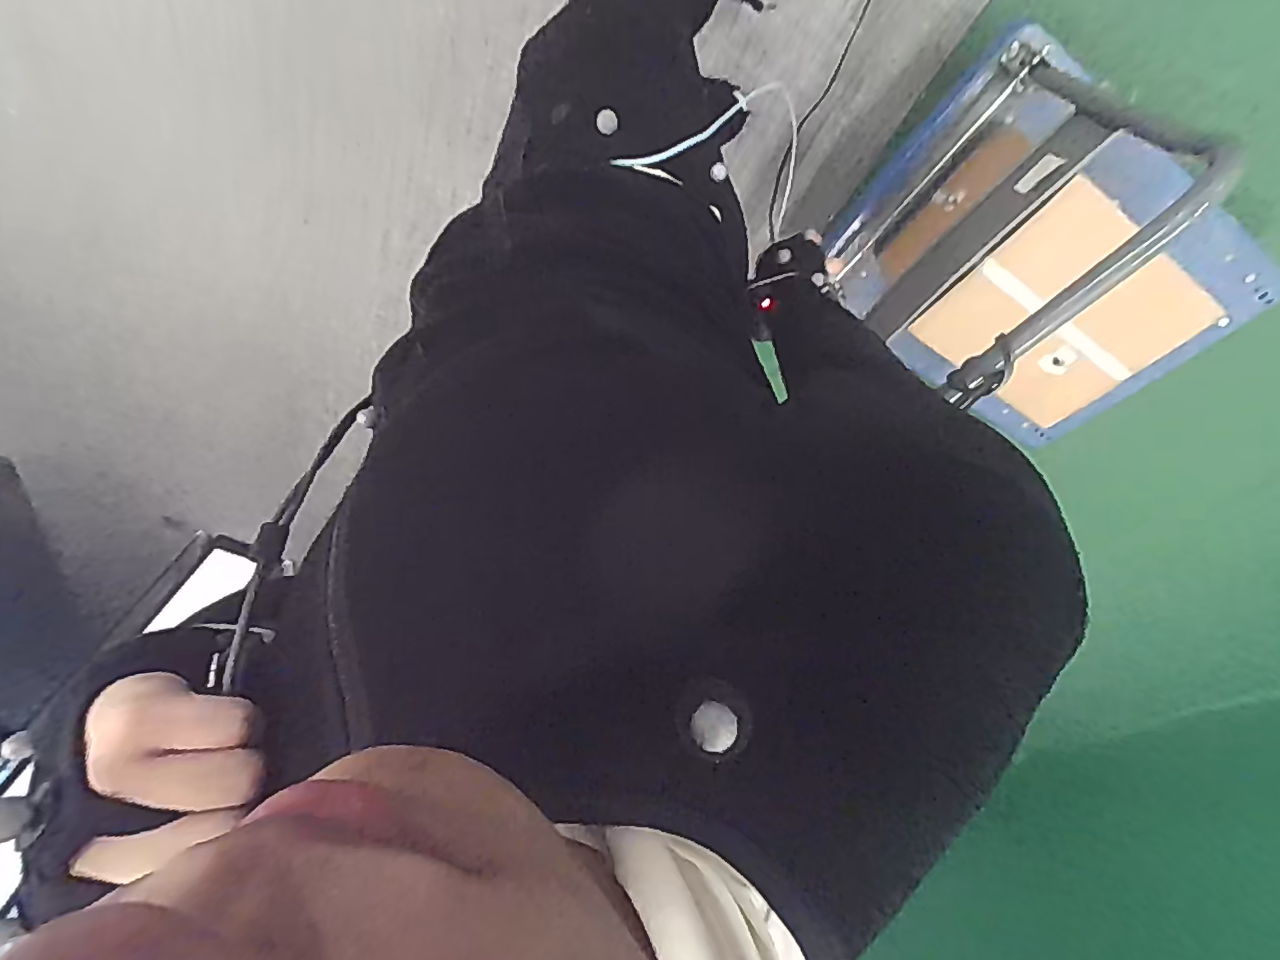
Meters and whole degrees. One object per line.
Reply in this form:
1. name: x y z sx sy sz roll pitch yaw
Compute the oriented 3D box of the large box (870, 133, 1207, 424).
1. large box: 0.739 -0.388 1.067 0.408 0.320 0.320 27 133 -18
